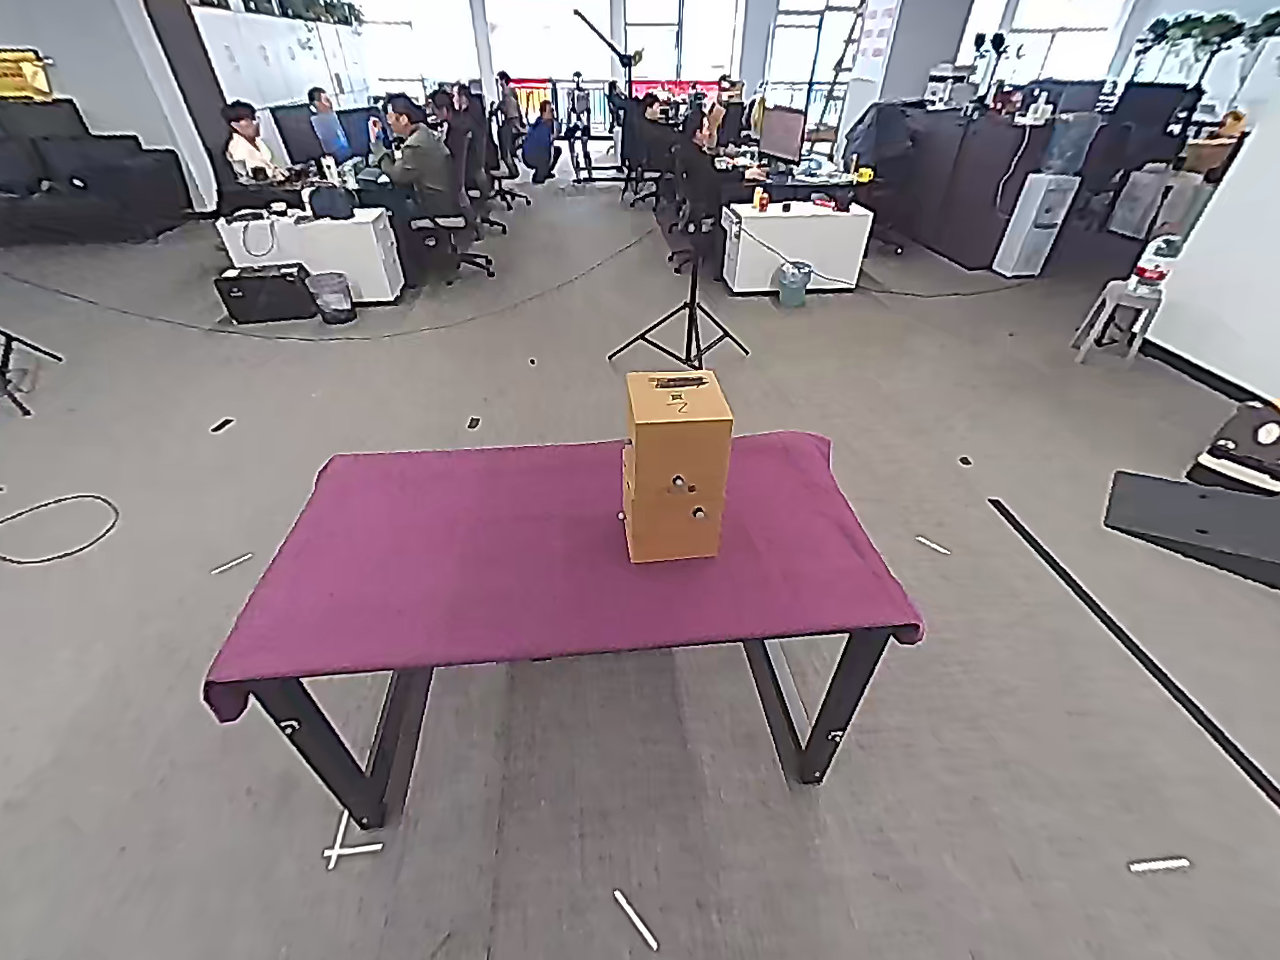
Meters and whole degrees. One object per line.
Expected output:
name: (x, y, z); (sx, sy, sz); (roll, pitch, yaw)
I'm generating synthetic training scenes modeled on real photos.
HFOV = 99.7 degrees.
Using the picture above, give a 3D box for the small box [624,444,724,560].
small box: (0.059, 0.045, 1.098); (0.179, 0.176, 0.168); (-5, 38, -5)
